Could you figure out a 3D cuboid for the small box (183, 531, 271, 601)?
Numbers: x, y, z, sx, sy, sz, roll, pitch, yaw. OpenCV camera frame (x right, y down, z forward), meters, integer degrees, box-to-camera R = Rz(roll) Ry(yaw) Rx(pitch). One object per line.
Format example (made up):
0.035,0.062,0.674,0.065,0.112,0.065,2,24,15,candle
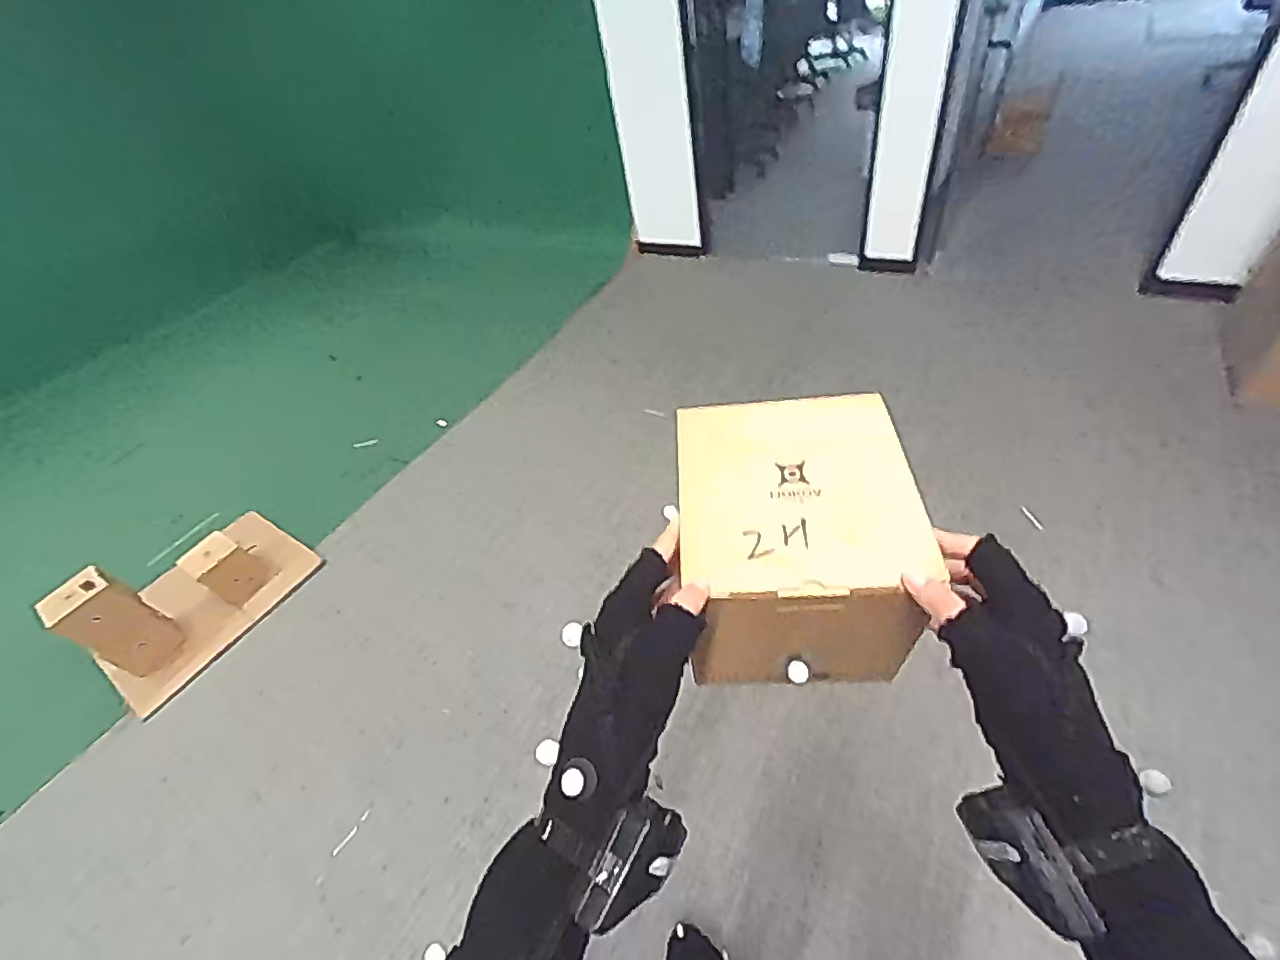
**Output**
-1.547,0.326,2.032,0.179,0.176,0.168,18,54,28,small box

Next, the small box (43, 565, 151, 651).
-1.749,0.417,1.755,0.168,0.176,0.179,22,57,31,small box
